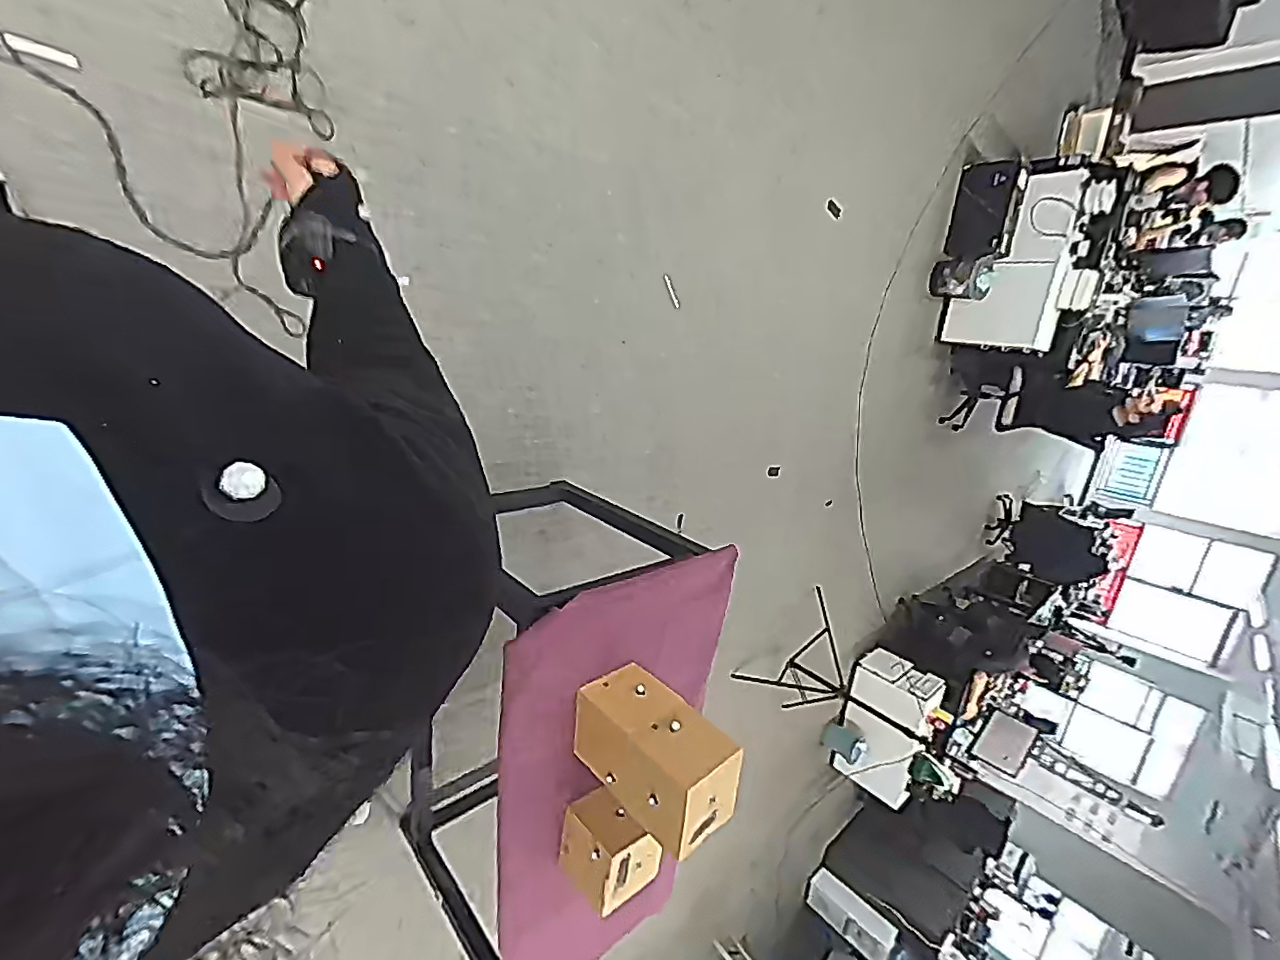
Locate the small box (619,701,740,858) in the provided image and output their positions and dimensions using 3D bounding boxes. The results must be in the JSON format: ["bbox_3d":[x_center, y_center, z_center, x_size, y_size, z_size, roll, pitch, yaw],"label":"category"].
[{"bbox_3d":[0.073,0.585,1.079,0.168,0.176,0.179,-12,113,-42],"label":"small box"}]

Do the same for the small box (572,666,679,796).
[{"bbox_3d":[-0.035,0.538,1.194,0.168,0.176,0.179,-11,114,-42],"label":"small box"}]
